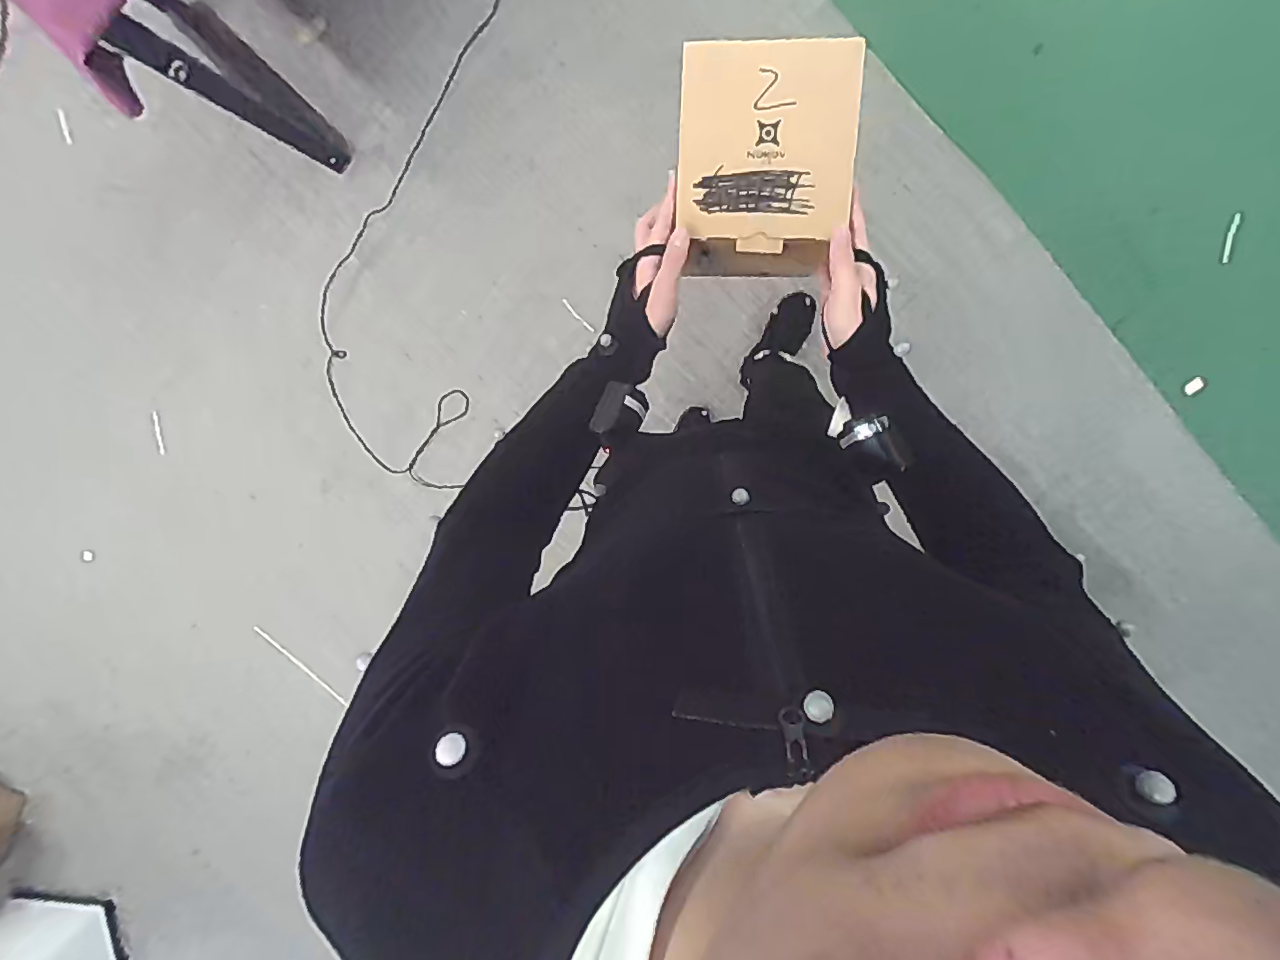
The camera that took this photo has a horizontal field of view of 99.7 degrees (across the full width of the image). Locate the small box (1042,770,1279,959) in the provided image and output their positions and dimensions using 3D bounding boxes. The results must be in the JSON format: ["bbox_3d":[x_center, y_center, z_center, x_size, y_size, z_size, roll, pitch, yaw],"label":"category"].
[{"bbox_3d":[0.812,0.613,0.865,0.179,0.176,0.168,39,102,-6],"label":"small box"}]

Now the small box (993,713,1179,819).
[{"bbox_3d":[0.825,0.576,1.022,0.179,0.176,0.168,39,102,-7],"label":"small box"}]
